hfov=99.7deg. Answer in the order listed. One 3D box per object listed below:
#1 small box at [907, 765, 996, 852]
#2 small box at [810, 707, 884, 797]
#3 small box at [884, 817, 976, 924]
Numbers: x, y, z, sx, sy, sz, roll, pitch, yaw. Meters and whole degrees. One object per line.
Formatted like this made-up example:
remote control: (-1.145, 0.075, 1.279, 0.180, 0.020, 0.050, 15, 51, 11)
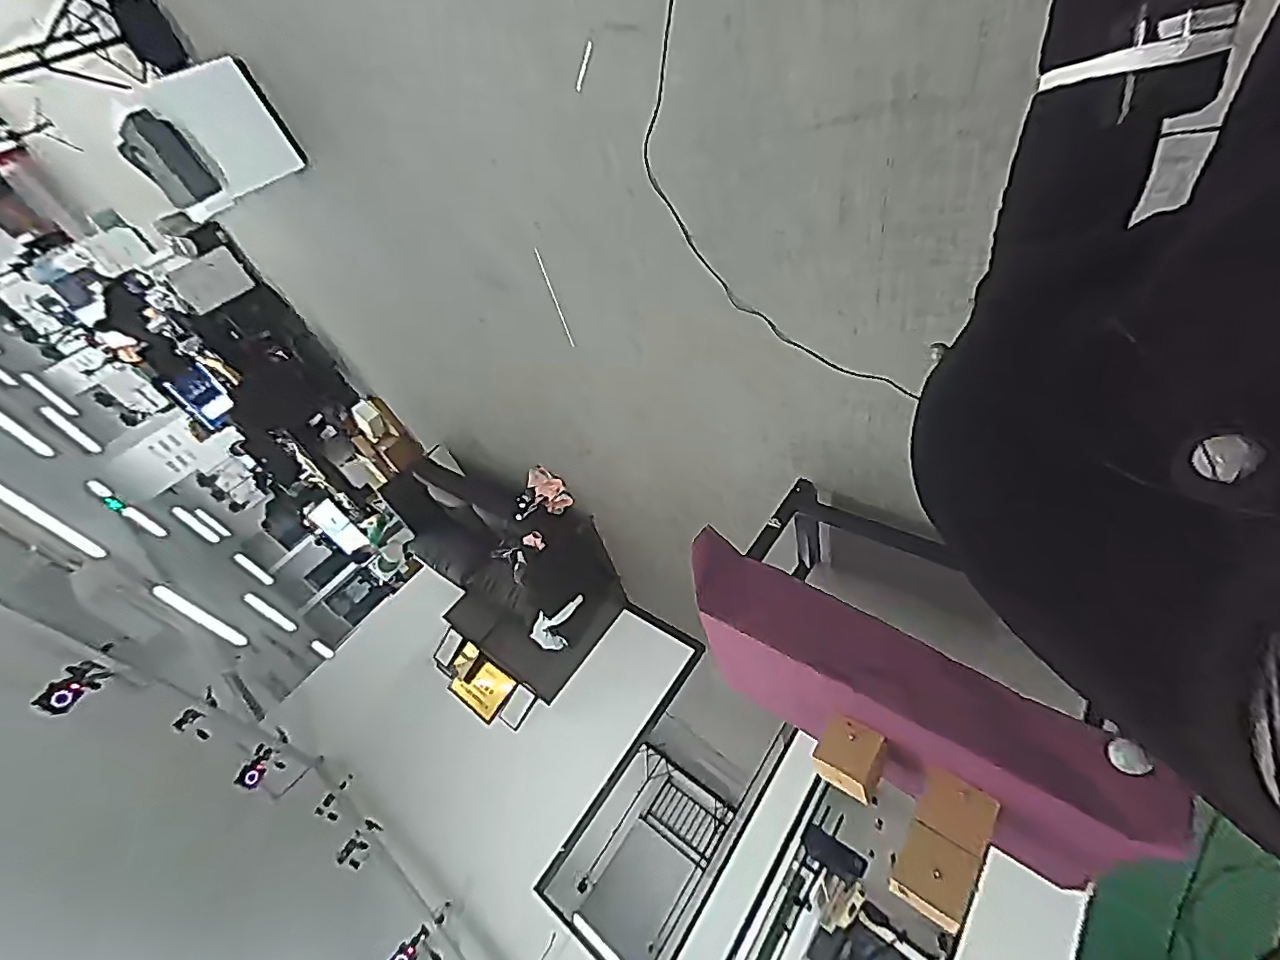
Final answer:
small box: (0.900, 0.960, 1.570, 0.179, 0.176, 0.168, 21, 147, 37)
small box: (0.676, 0.875, 1.749, 0.168, 0.176, 0.179, 16, 143, 41)
small box: (0.800, 1.069, 1.498, 0.179, 0.176, 0.168, 20, 146, 36)
